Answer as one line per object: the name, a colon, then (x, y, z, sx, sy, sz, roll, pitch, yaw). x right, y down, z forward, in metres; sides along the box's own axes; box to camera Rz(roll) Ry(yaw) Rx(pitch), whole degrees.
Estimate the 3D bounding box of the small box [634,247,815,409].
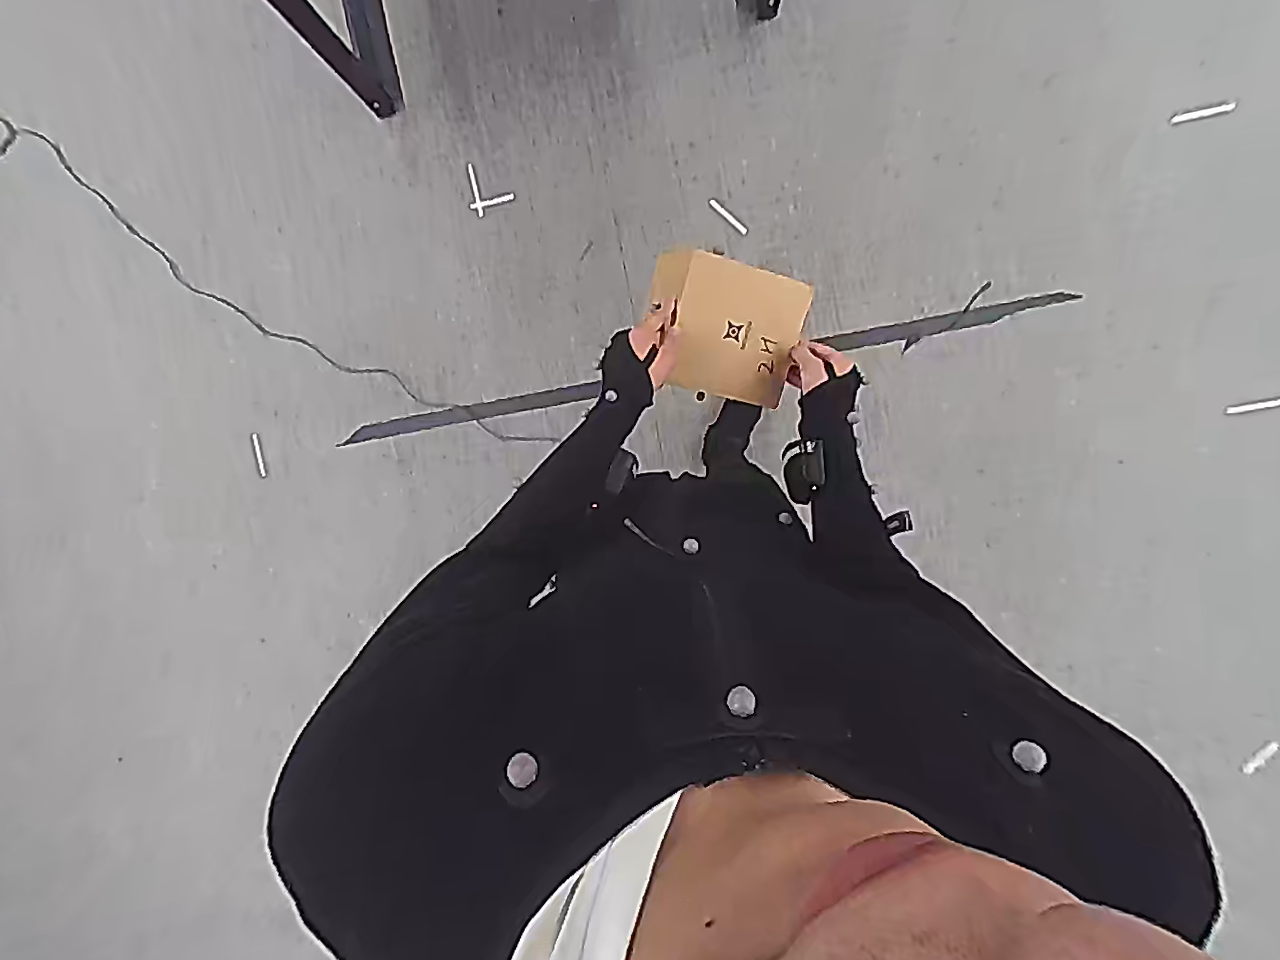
small box: (0.104, -0.210, 0.756, 0.179, 0.176, 0.168, 10, 106, -17)
